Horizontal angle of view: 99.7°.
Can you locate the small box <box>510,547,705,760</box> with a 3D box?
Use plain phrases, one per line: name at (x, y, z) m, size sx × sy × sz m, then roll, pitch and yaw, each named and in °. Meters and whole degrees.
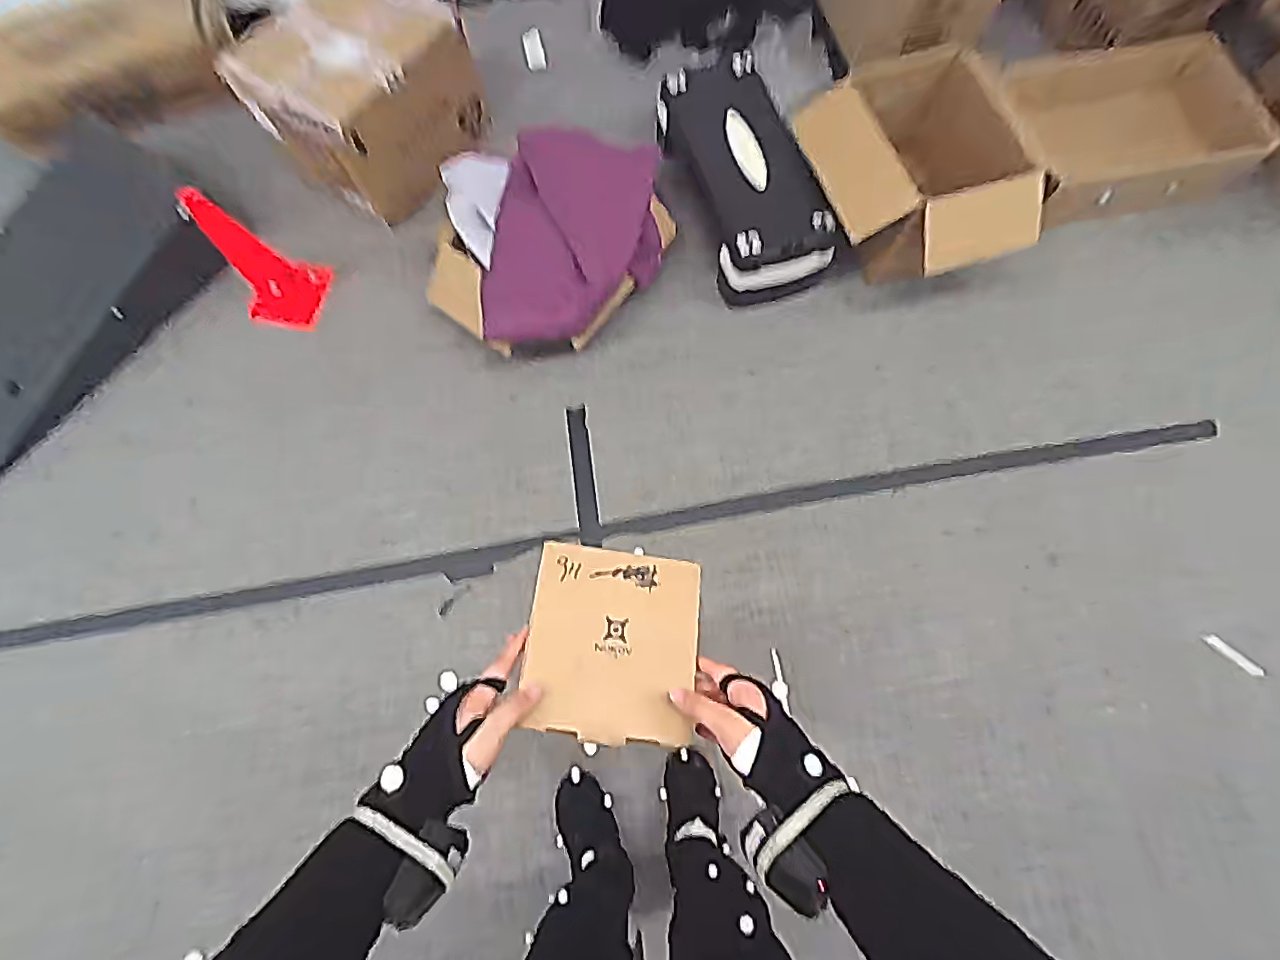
small box at (-0.034, 0.186, 0.579) m, size 0.168 × 0.176 × 0.179 m, roll 9°, pitch 67°, yaw -5°
